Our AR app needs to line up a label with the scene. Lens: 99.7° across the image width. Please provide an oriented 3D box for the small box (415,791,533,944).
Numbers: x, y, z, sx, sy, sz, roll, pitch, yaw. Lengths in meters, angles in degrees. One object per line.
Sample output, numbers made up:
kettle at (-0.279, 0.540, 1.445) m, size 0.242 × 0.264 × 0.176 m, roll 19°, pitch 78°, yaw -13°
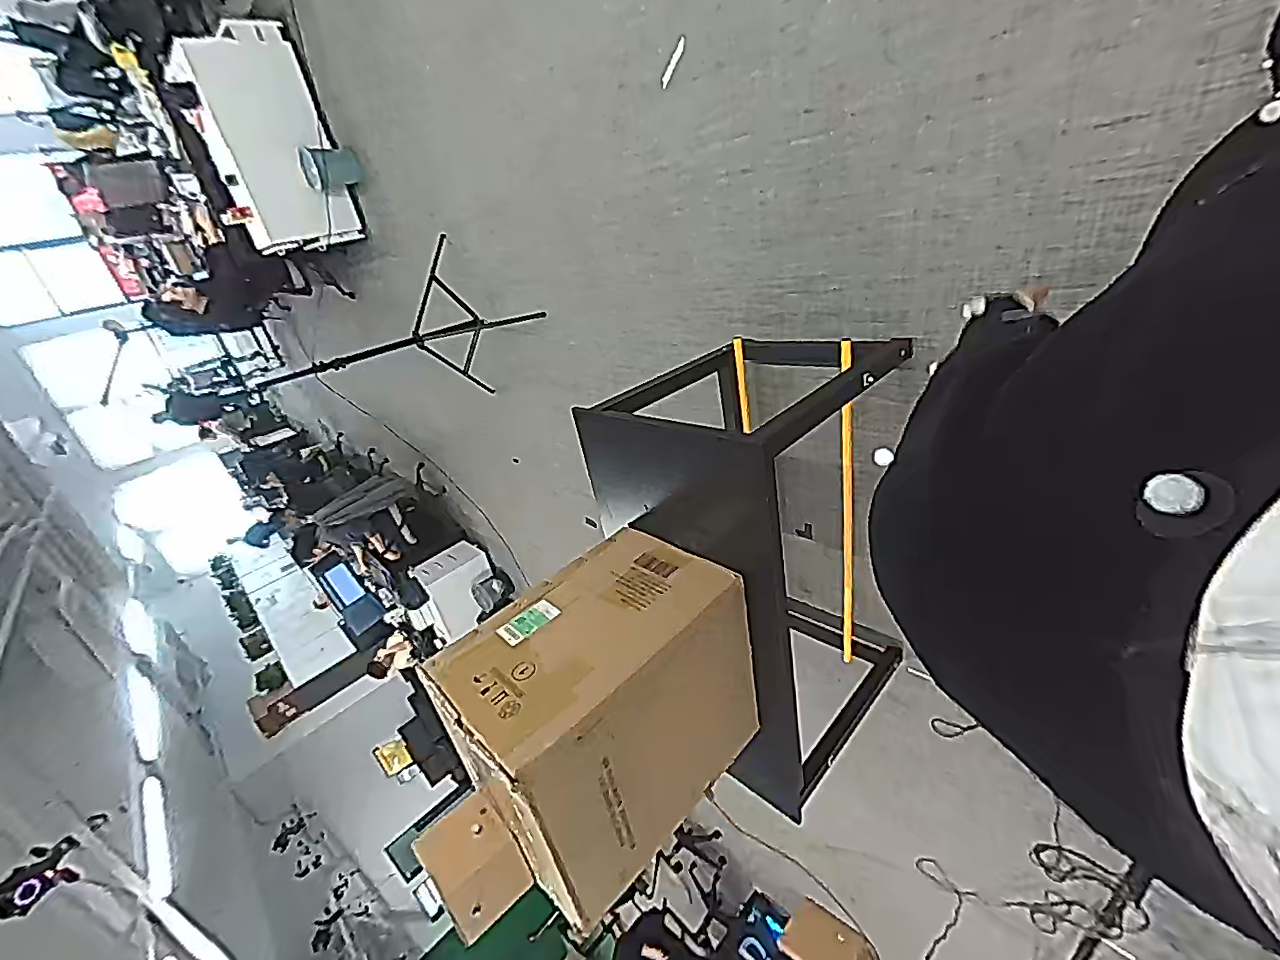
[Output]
small box at (-0.355, 0.836, 1.181) m, size 0.168 × 0.176 × 0.179 m, roll 19°, pitch 129°, yaw 45°
